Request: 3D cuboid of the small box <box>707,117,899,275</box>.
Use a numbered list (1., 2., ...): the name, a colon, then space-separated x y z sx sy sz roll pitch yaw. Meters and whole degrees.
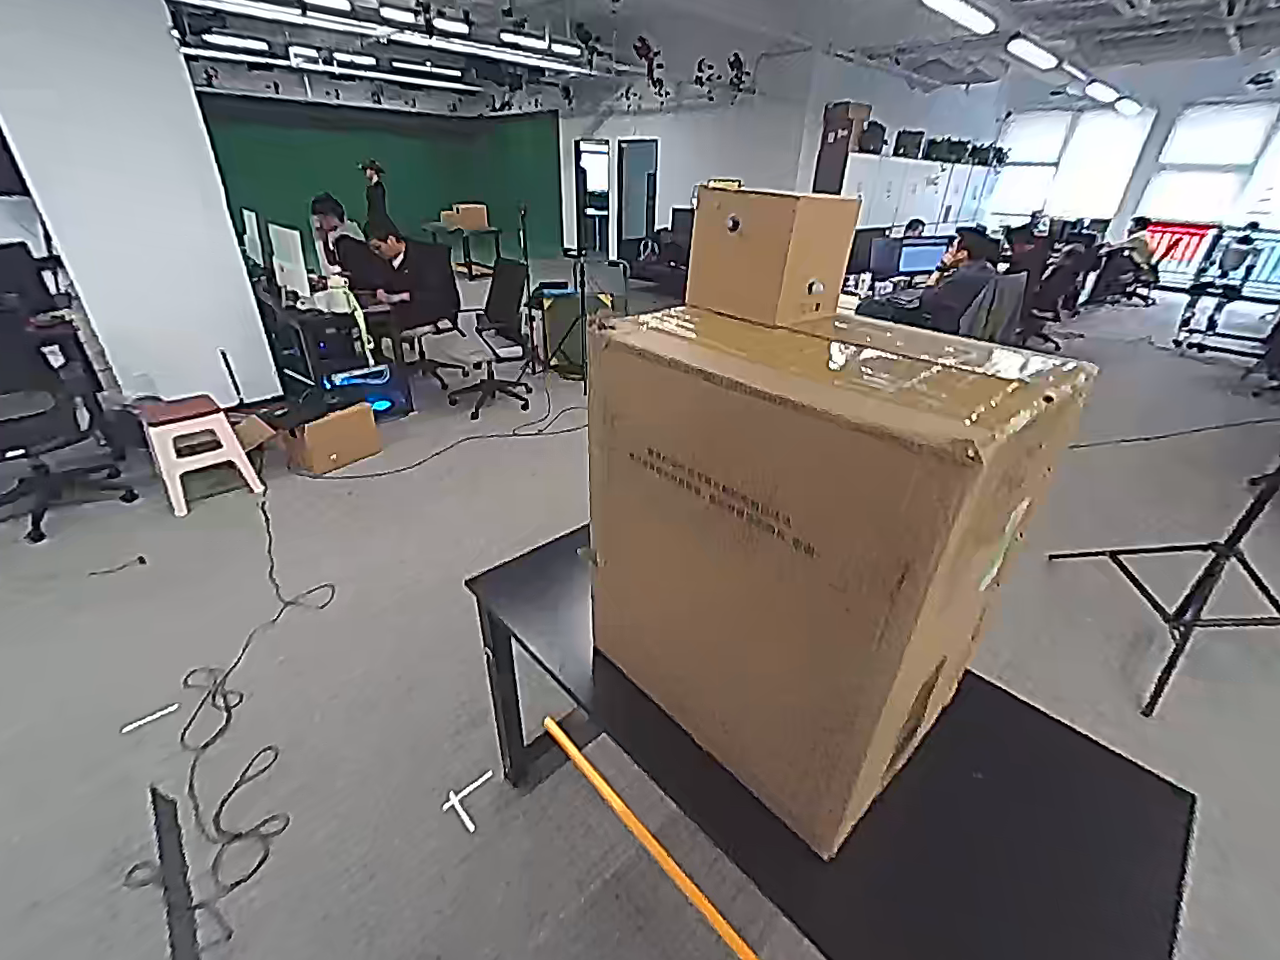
1. small box: 0.210 -0.381 0.737 0.168 0.176 0.179 -21 39 -38
